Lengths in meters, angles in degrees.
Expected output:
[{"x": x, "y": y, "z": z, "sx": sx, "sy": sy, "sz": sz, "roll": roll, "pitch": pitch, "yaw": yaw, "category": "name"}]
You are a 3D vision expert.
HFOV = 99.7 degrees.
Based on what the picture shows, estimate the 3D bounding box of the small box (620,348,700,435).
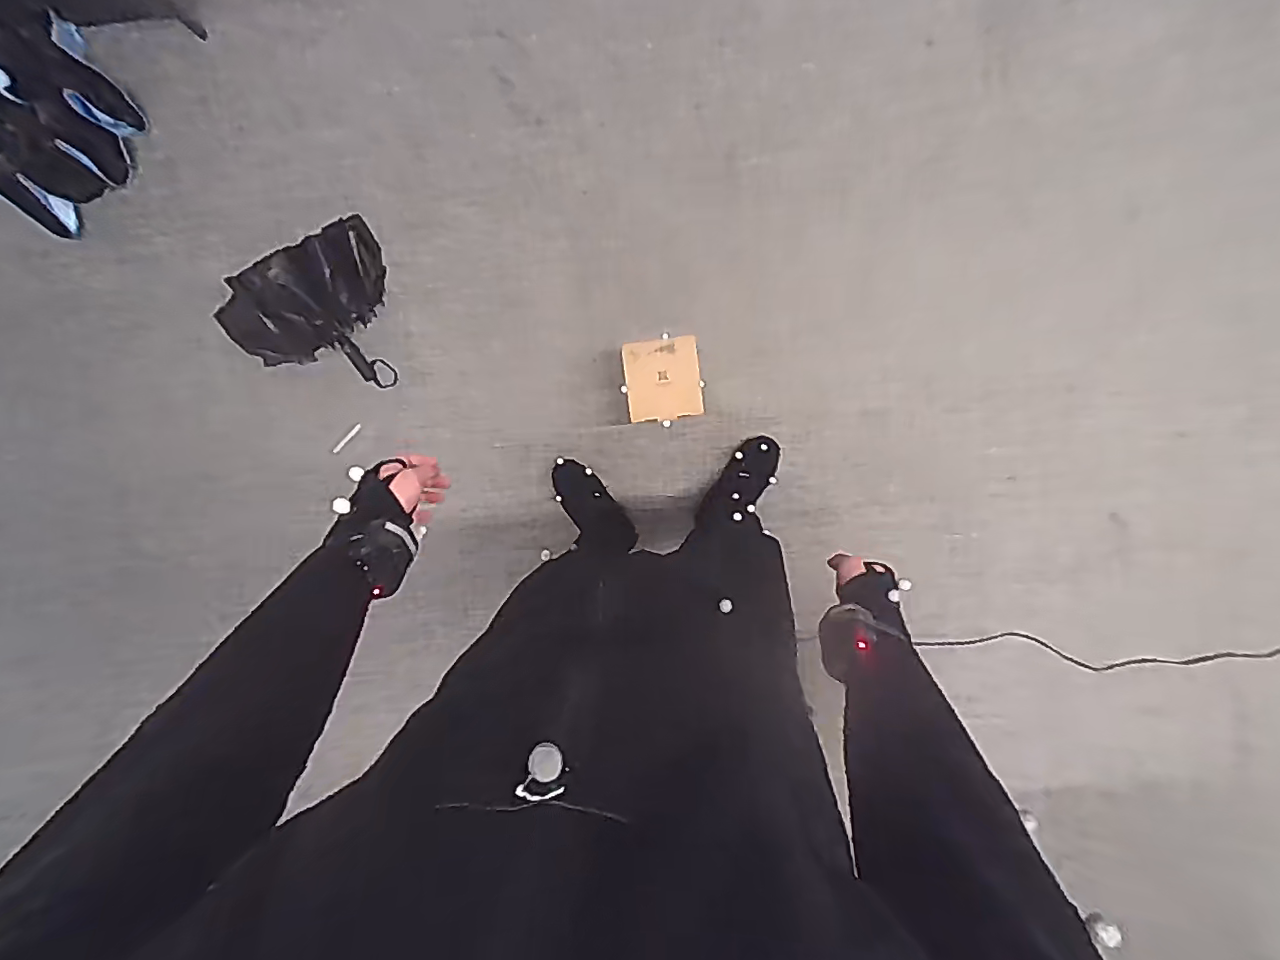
[{"x": 0.048, "y": -0.206, "z": 1.281, "sx": 0.168, "sy": 0.176, "sz": 0.179, "roll": -8, "pitch": 96, "yaw": 2, "category": "small box"}]
